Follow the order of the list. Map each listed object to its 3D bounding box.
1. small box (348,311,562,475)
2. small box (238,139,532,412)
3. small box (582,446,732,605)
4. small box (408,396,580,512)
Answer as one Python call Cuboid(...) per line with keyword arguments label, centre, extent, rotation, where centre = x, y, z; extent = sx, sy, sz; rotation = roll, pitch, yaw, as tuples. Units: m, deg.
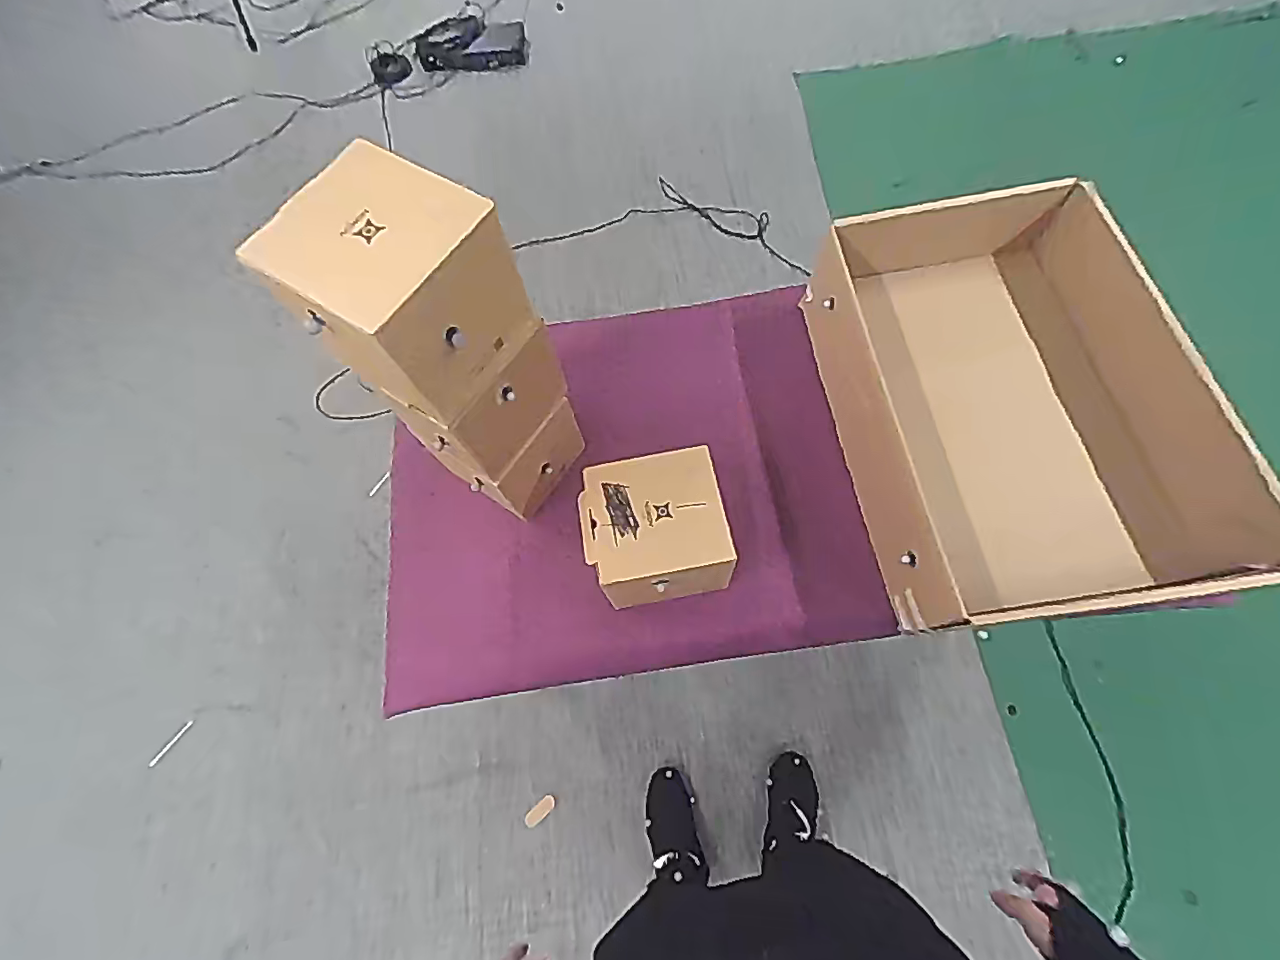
Cuboid(label="small box", centre=(-0.221, -0.133, 0.703), extent=(0.168, 0.176, 0.179), rotation=(32, 74, 14))
Cuboid(label="small box", centre=(-0.237, -0.194, 0.554), extent=(0.179, 0.176, 0.168), rotation=(30, 74, 14))
Cuboid(label="small box", centre=(0.025, 0.073, 0.776), extent=(0.179, 0.176, 0.168), rotation=(-11, 67, 0))
Cuboid(label="small box", centre=(-0.216, -0.068, 0.852), extent=(0.179, 0.176, 0.168), rotation=(32, 73, 15))
